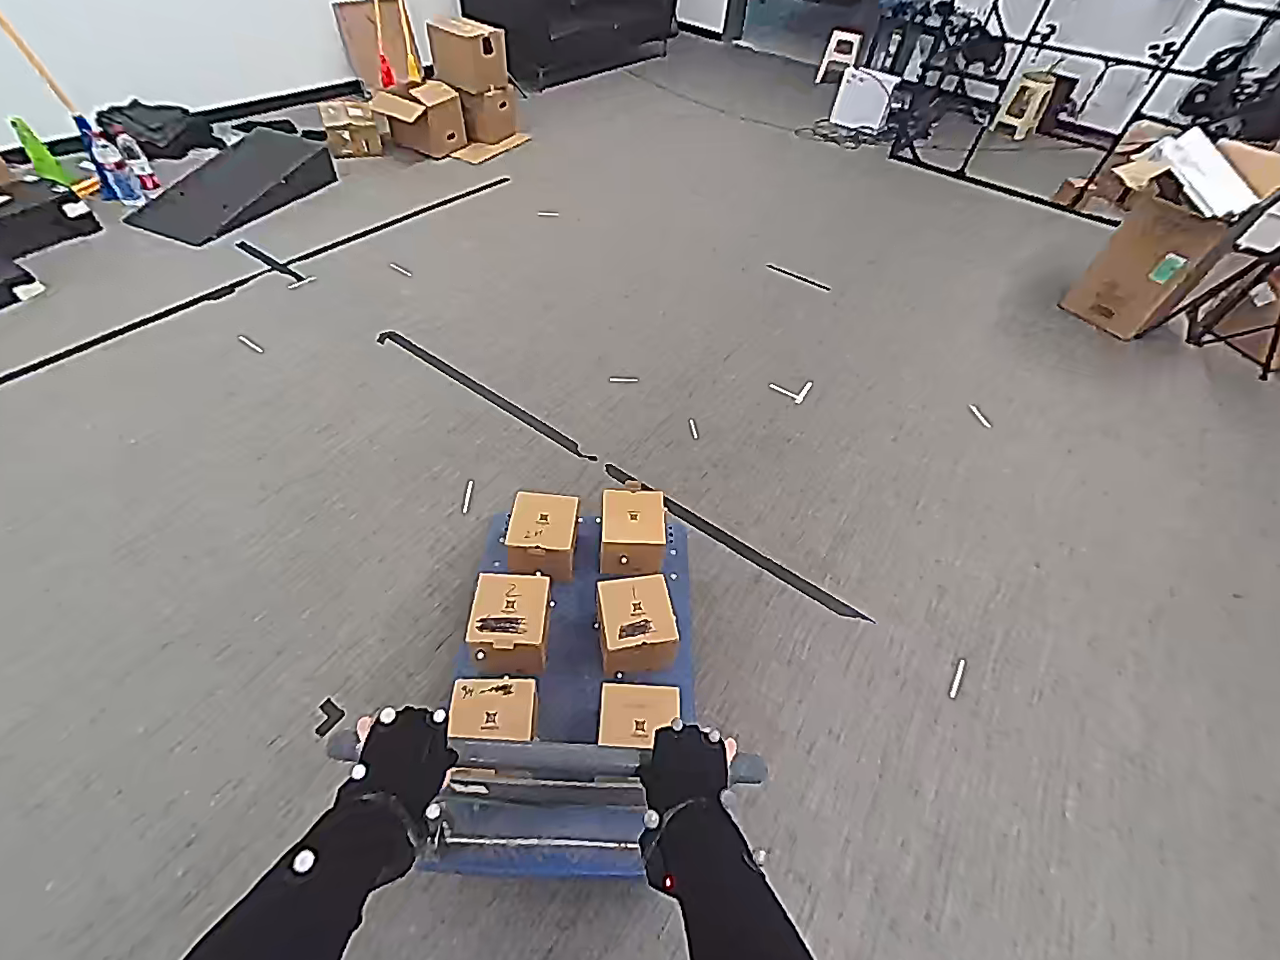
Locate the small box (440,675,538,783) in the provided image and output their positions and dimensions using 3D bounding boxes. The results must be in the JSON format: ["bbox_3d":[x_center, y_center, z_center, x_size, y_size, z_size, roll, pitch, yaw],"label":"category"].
[{"bbox_3d":[-0.305,0.525,1.133,0.168,0.176,0.179,3,50,-6],"label":"small box"}]

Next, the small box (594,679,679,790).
[{"bbox_3d":[-0.009,0.548,1.156,0.168,0.176,0.179,6,48,-3],"label":"small box"}]

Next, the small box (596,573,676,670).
[{"bbox_3d":[-0.017,0.351,1.322,0.168,0.176,0.179,-4,49,-11],"label":"small box"}]

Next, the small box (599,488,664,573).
[{"bbox_3d":[-0.026,0.144,1.500,0.168,0.176,0.179,2,49,-5],"label":"small box"}]

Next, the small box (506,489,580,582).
[{"bbox_3d":[-0.258,0.151,1.460,0.168,0.176,0.179,6,50,-2],"label":"small box"}]
